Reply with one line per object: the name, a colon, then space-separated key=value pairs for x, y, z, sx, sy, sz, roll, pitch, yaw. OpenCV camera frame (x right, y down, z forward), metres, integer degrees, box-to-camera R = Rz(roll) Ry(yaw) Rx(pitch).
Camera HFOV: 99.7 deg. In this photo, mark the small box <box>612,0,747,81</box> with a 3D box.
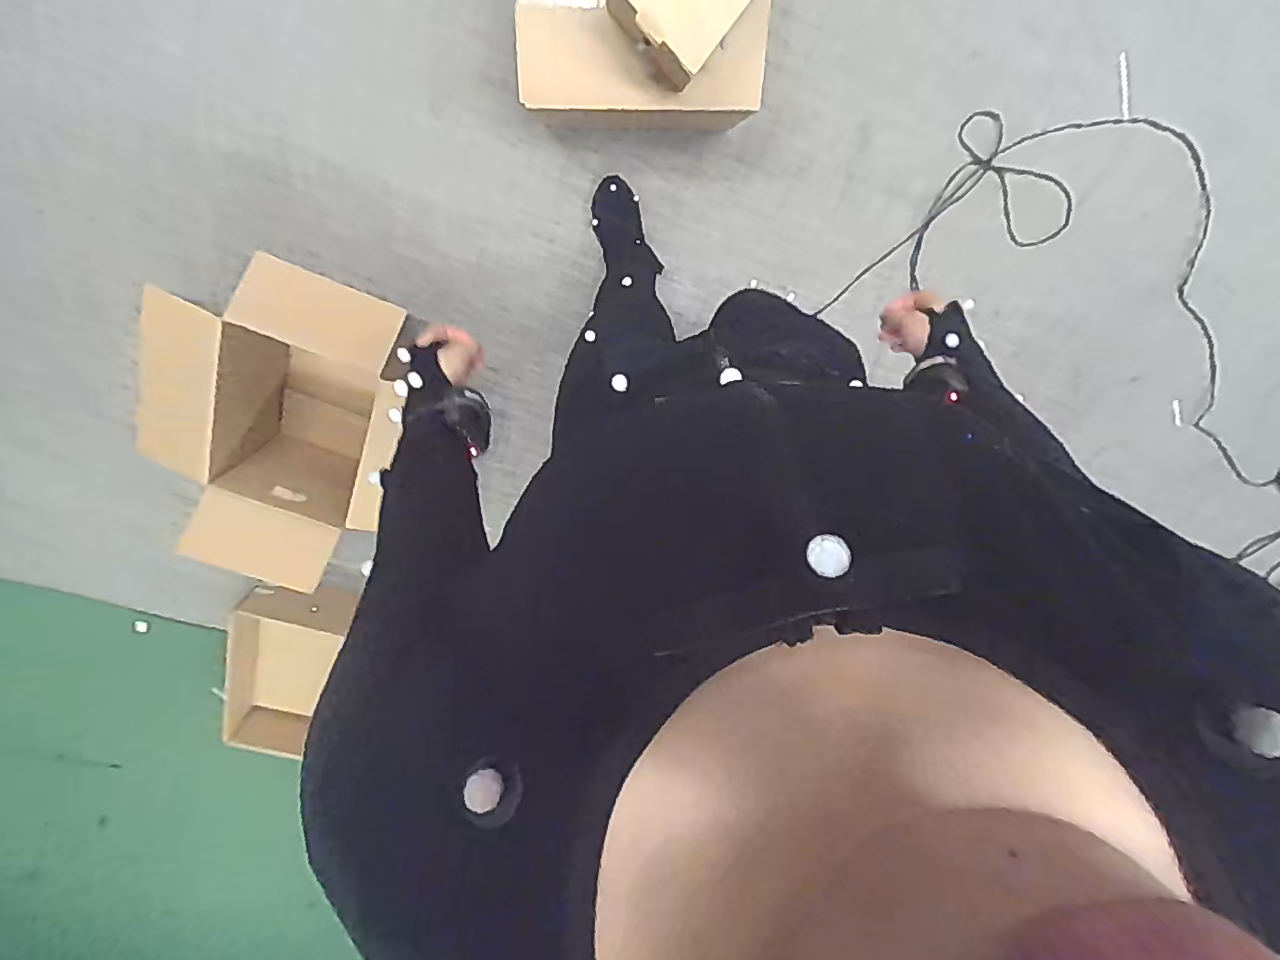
small box: x=0.064 y=-0.712 z=0.765 sx=0.168 sy=0.176 sz=0.179 roll=37 pitch=113 yaw=-20
